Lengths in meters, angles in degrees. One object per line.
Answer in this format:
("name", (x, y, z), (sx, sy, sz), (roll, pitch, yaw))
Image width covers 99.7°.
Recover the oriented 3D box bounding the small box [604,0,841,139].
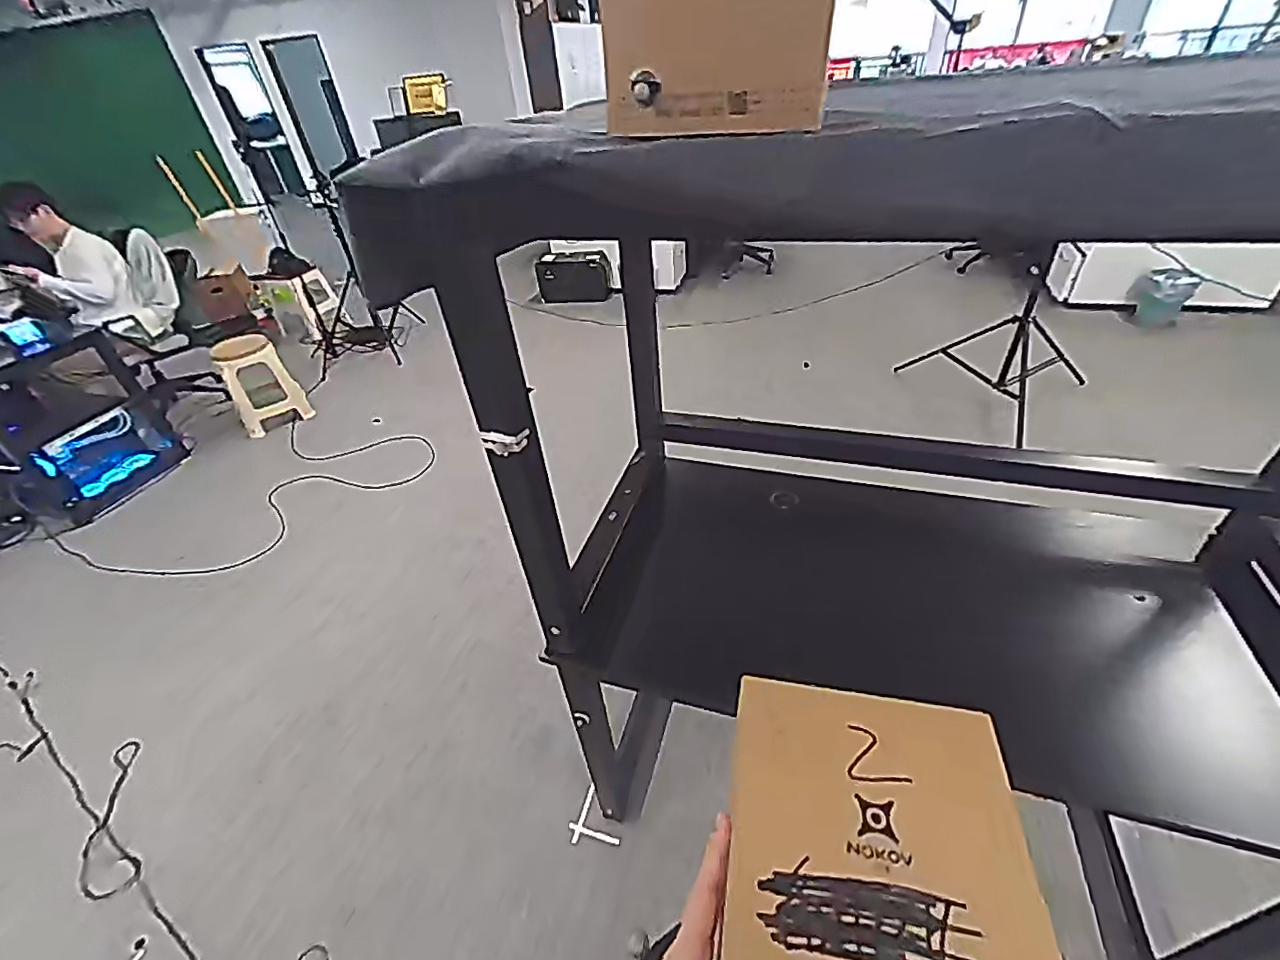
("small box", (0.073, -0.378, 0.433), (0.168, 0.176, 0.179), (8, 38, 14))
